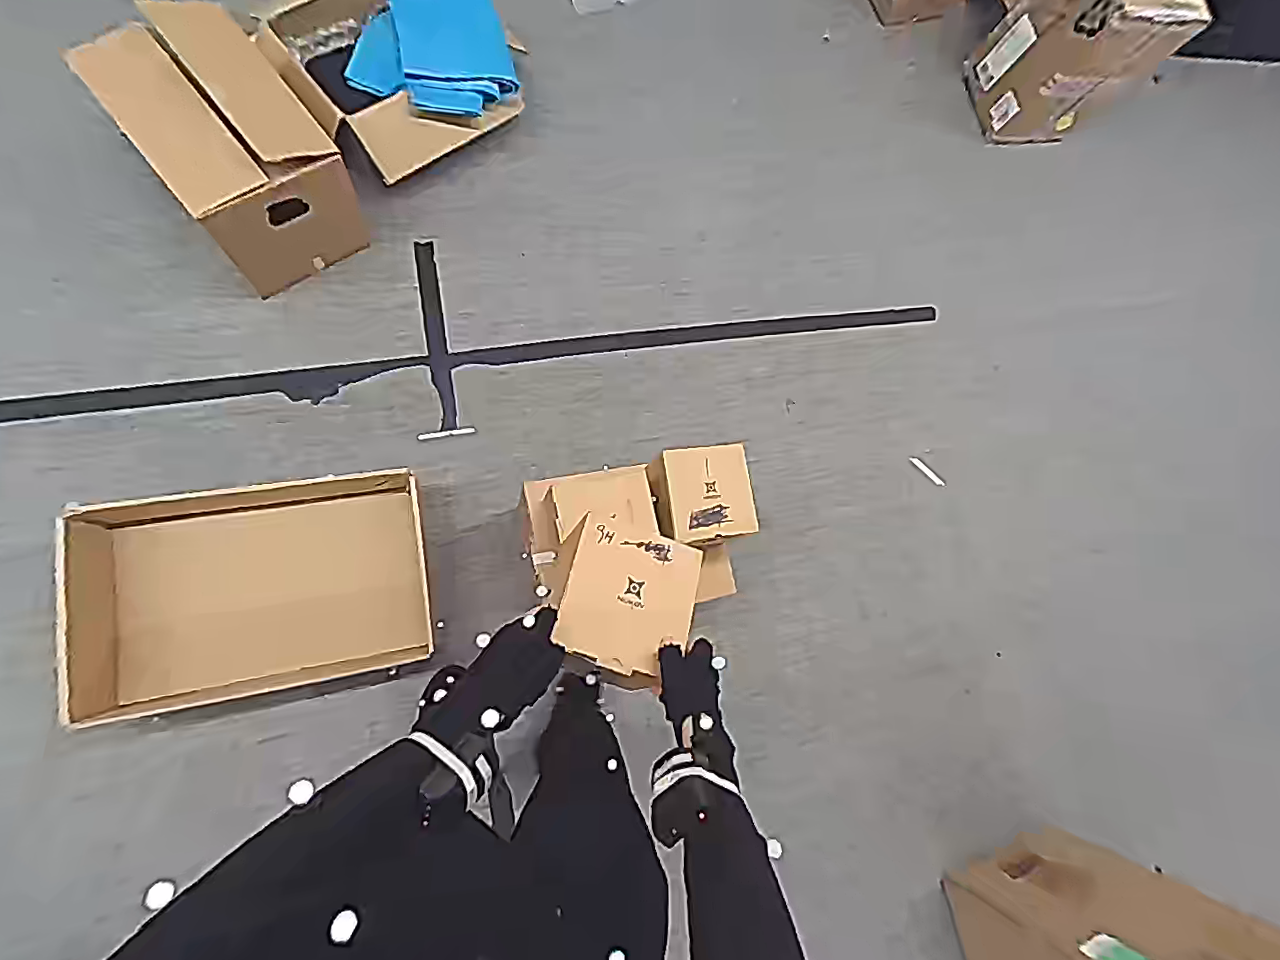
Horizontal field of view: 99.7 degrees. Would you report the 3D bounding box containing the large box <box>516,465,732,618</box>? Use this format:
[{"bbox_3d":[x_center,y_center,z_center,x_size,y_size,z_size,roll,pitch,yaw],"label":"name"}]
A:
[{"bbox_3d":[-0.058,0.162,1.271,0.408,0.320,0.320,-10,82,-17],"label":"large box"}]

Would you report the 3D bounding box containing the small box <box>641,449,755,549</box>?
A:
[{"bbox_3d":[0.108,0.048,1.081,0.168,0.176,0.179,-5,78,-15],"label":"small box"}]

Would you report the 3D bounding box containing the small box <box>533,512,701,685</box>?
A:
[{"bbox_3d":[-0.038,0.171,0.736,0.168,0.176,0.179,21,63,-12],"label":"small box"}]
